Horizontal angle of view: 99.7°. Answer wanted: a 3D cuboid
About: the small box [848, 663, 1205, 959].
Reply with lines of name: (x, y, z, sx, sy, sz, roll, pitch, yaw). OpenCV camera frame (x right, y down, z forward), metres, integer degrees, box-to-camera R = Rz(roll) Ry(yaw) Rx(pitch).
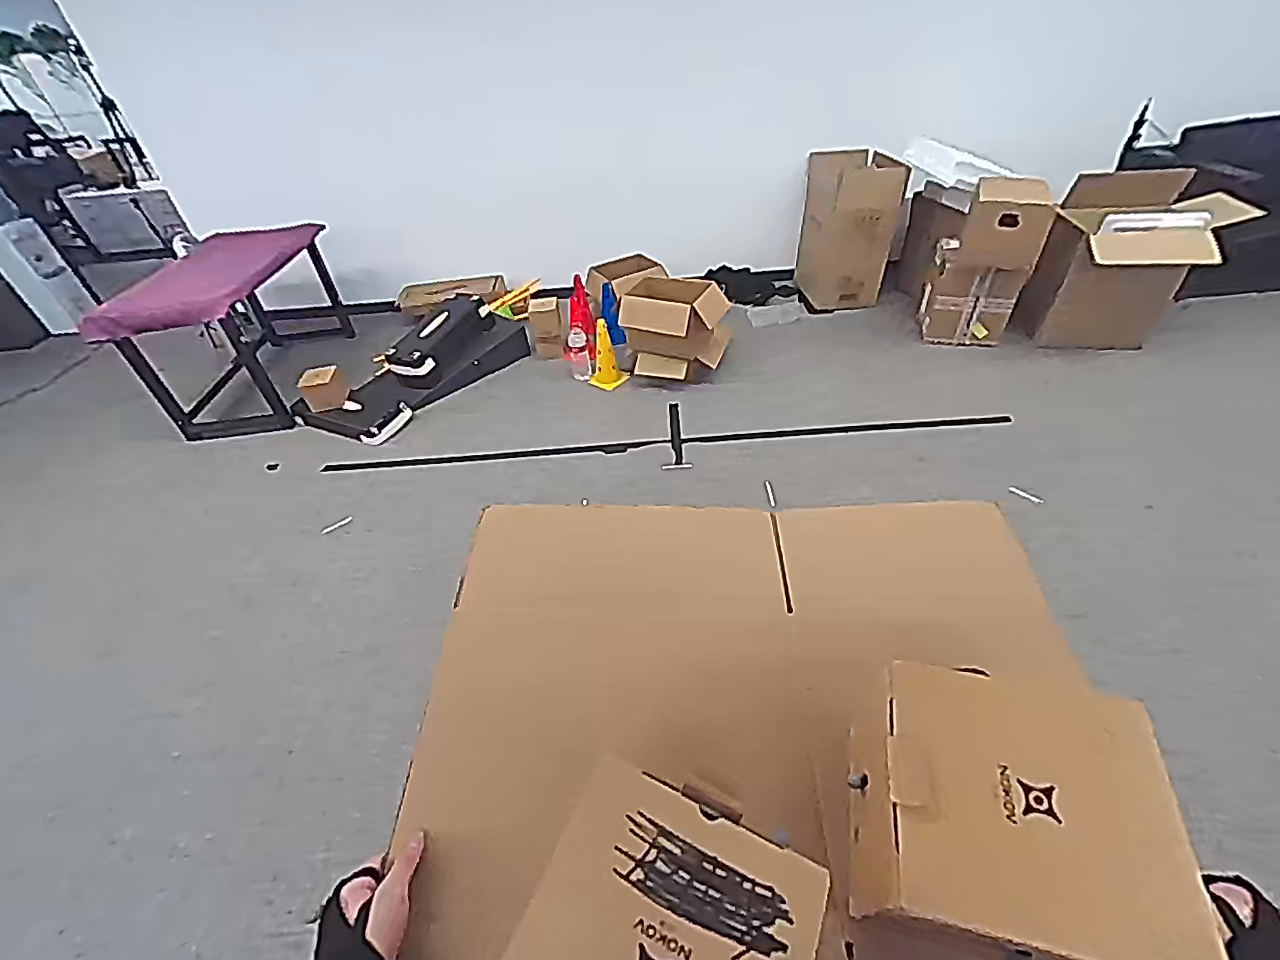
small box: (0.276, 0.274, 0.439, 0.179, 0.176, 0.168, 6, 51, 15)
